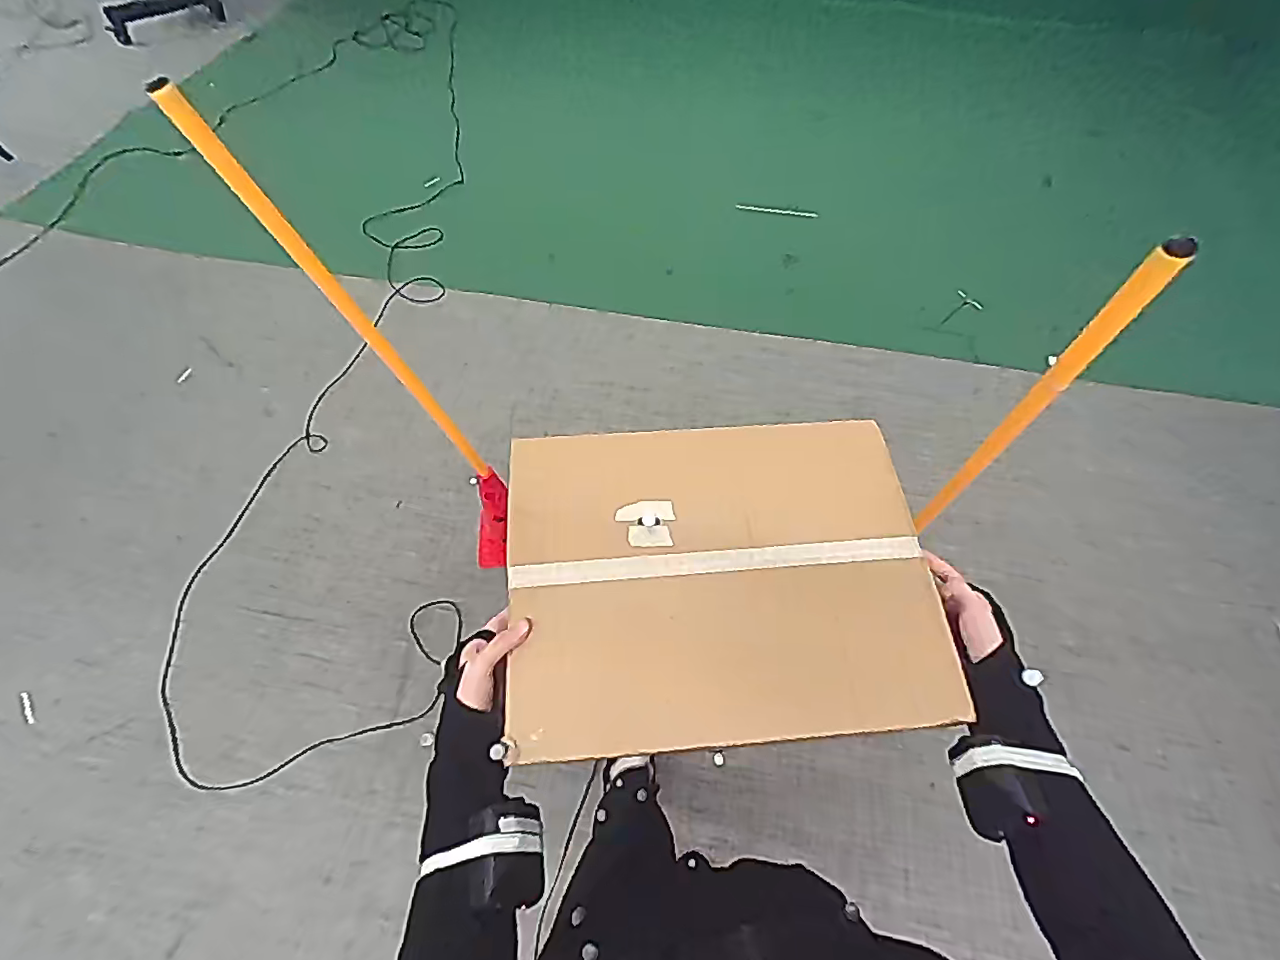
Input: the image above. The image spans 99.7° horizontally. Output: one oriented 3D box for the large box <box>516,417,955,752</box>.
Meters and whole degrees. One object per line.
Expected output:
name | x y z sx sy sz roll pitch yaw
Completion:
large box | 0.076 0.146 0.676 0.408 0.320 0.320 -4 63 -3
